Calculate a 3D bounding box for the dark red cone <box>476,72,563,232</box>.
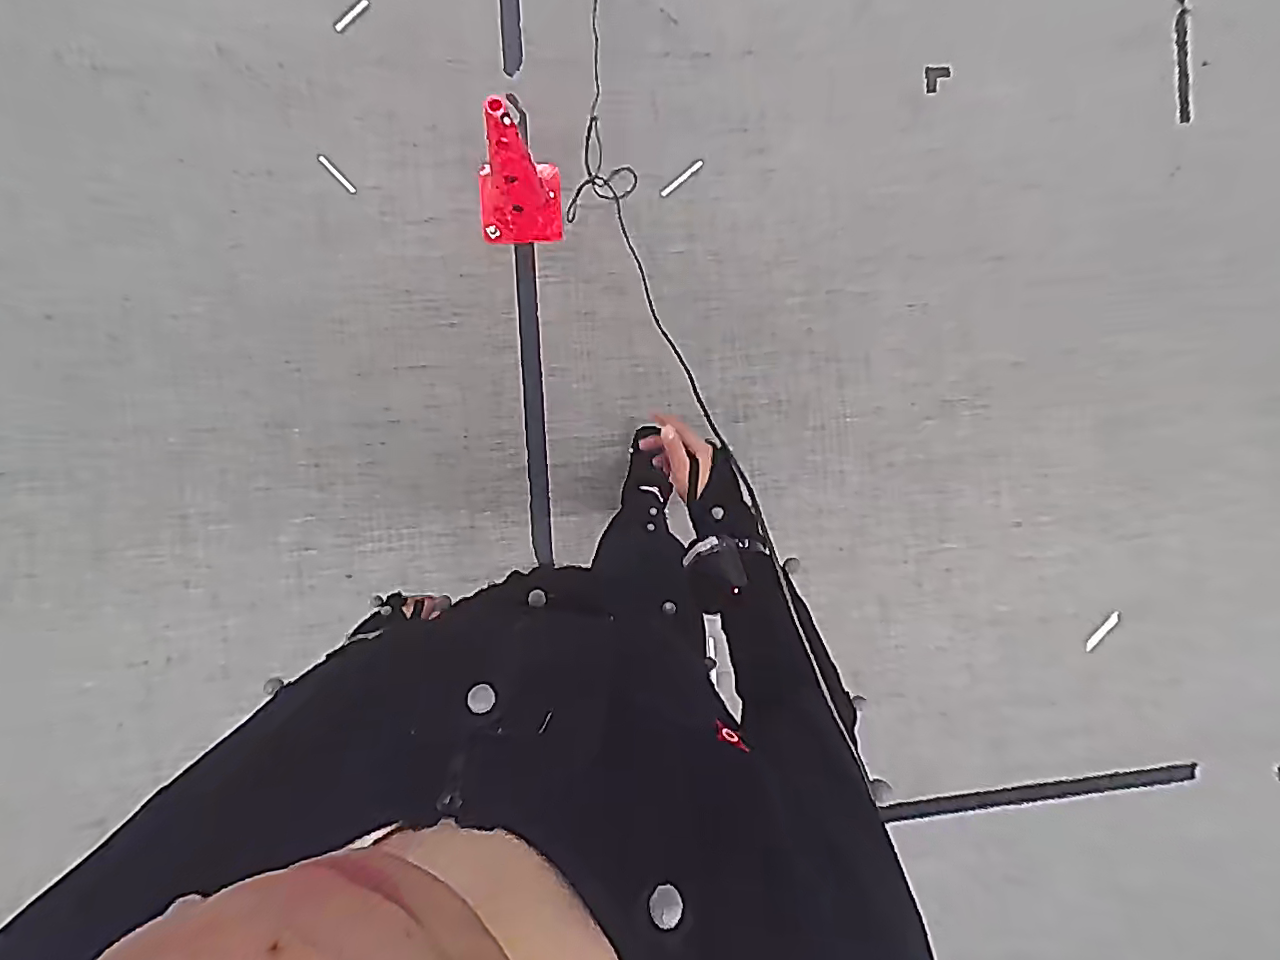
[{"bbox_3d":[-0.279,-0.709,1.163,0.201,0.394,0.202,-5,90,-6],"label":"dark red cone"}]
